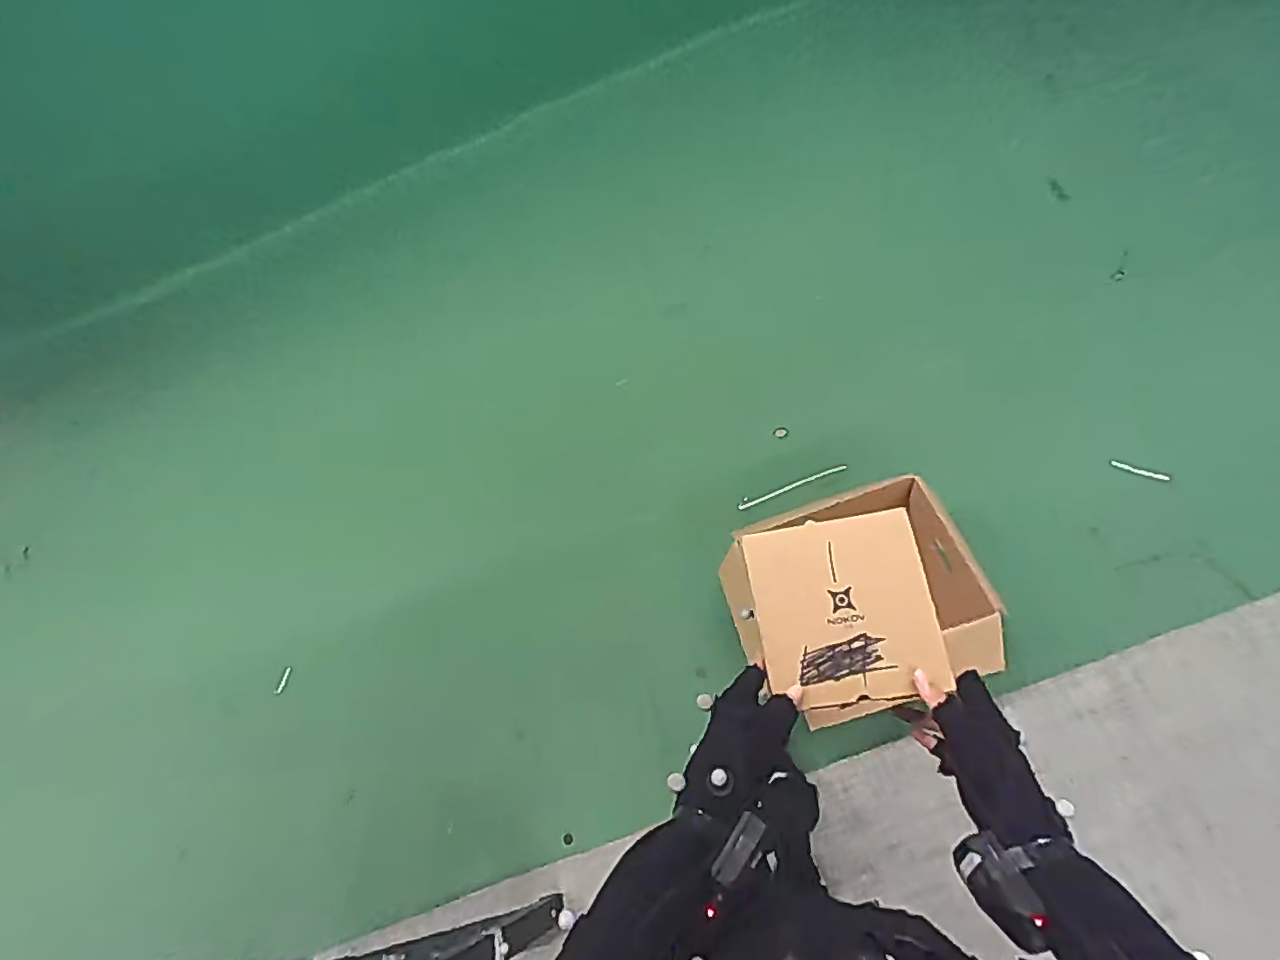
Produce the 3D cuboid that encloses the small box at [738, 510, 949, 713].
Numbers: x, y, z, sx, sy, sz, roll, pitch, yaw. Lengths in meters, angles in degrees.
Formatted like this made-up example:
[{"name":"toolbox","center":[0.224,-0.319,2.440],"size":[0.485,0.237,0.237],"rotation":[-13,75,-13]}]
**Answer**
[{"name":"small box","center":[0.207,0.143,0.601],"size":[0.168,0.176,0.179],"rotation":[-11,75,7]}]
